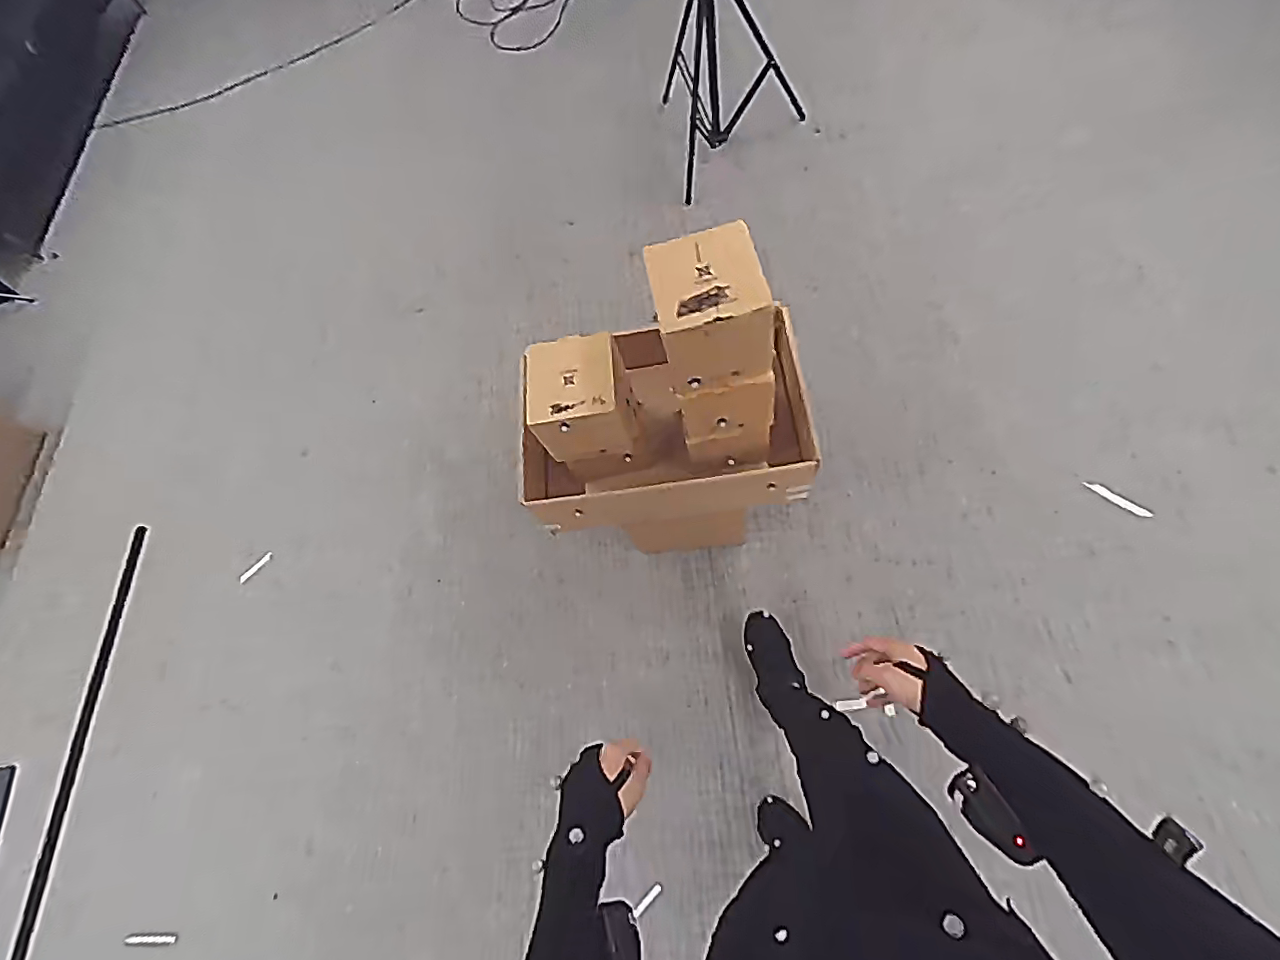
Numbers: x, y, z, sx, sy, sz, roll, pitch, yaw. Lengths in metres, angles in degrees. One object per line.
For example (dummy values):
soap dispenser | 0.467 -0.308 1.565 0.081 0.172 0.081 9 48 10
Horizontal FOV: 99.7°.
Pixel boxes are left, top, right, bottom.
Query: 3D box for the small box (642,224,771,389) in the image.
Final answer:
small box | 0.111 -0.267 0.875 0.168 0.176 0.179 -13 66 6

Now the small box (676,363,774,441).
small box | 0.150 -0.196 1.019 0.168 0.176 0.179 -11 67 7

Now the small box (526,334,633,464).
small box | -0.112 -0.152 1.055 0.168 0.176 0.179 -8 65 9
